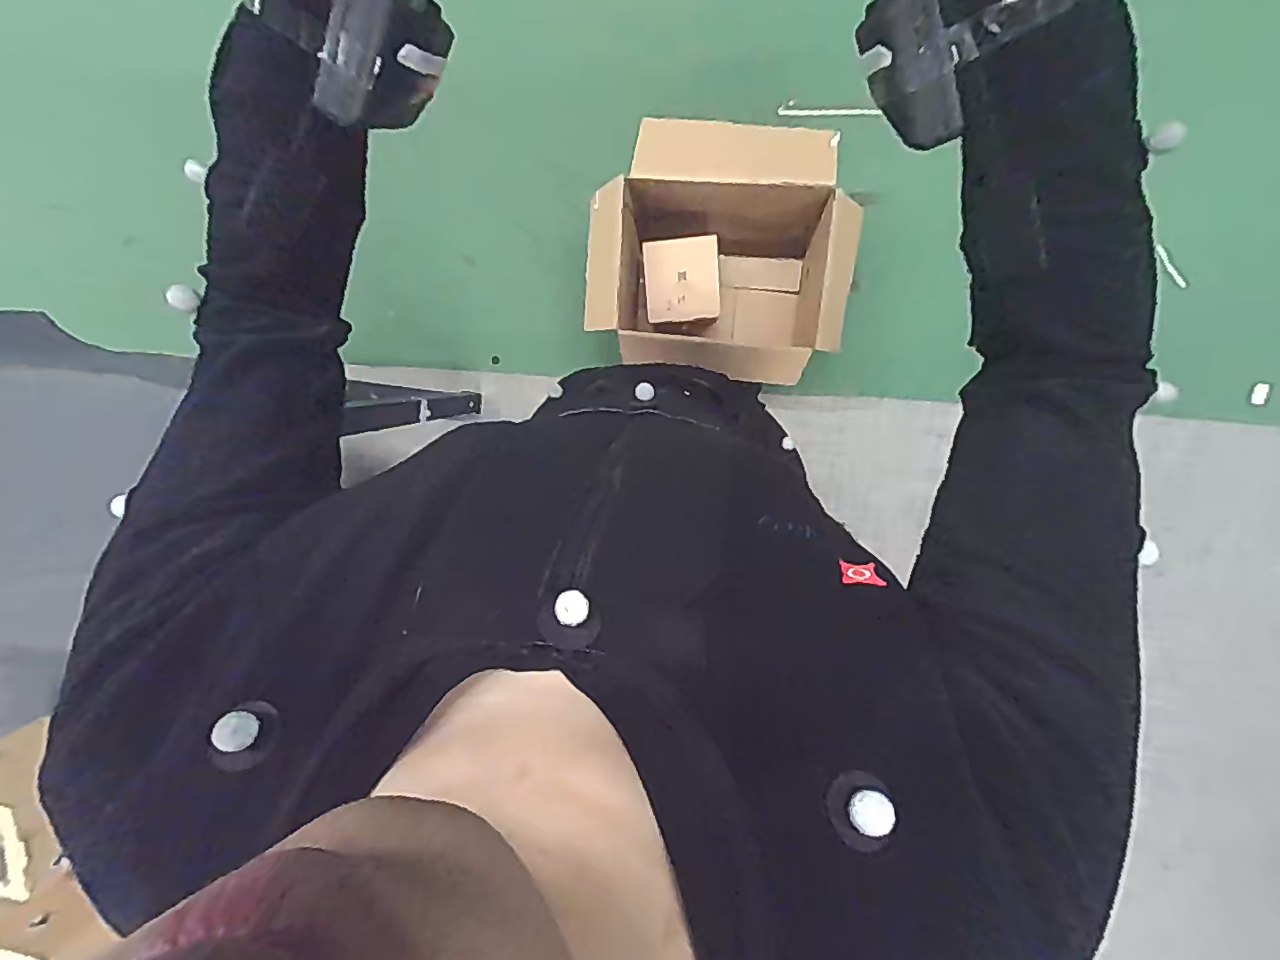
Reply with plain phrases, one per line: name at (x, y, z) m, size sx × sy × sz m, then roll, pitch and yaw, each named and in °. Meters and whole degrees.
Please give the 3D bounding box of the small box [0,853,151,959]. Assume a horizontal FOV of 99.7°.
small box at (-0.974, 0.774, 0.909) m, size 0.179 × 0.176 × 0.168 m, roll 8°, pitch 101°, yaw 6°
